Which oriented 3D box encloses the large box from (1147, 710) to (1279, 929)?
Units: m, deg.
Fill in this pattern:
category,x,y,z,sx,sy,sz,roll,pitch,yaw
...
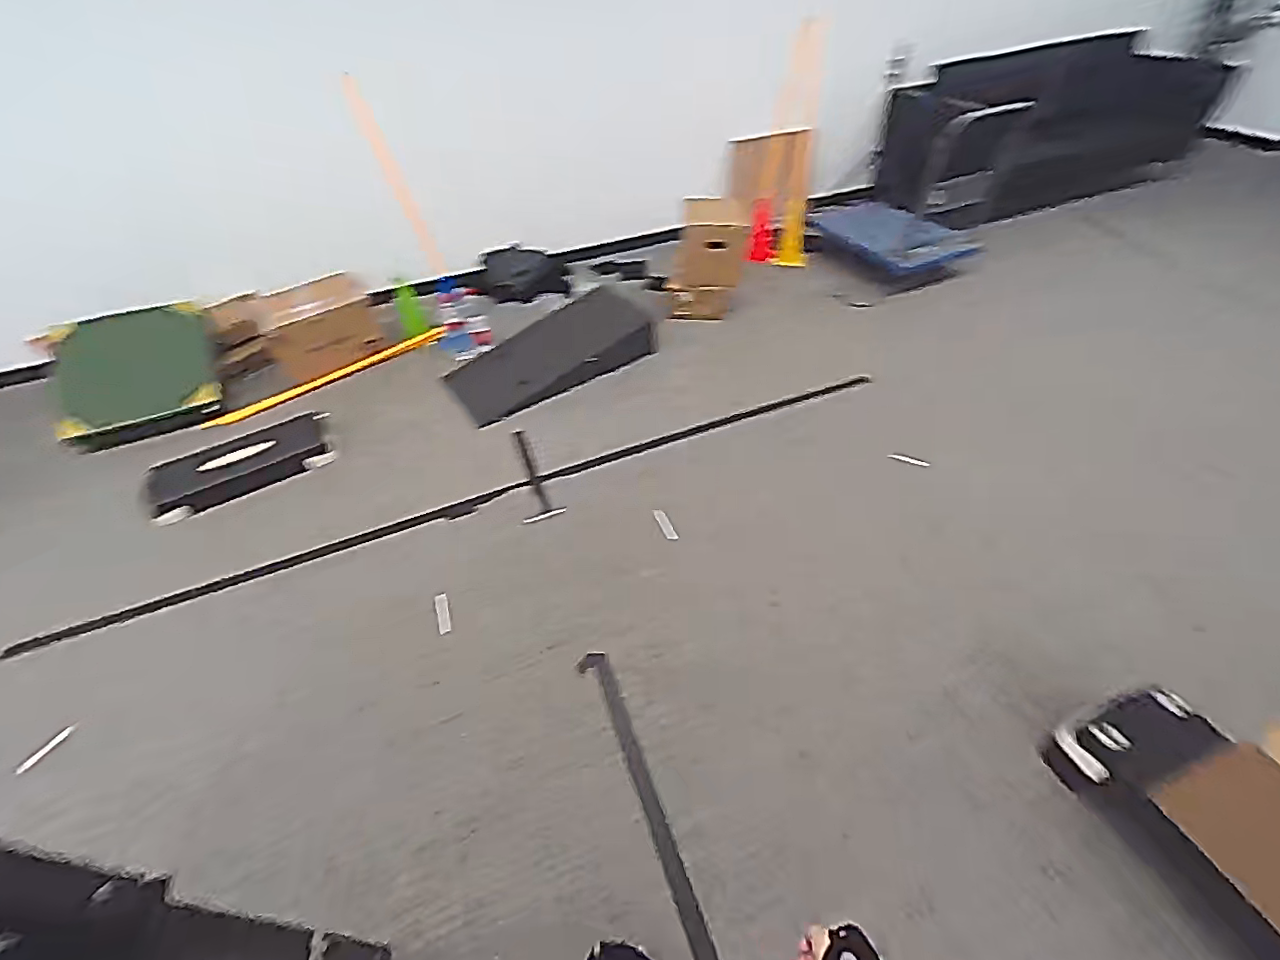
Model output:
category,x,y,z,sx,sy,sz,roll,pitch,yaw
large box,1.252,0.629,0.921,0.320,0.320,0.408,-18,45,-14
